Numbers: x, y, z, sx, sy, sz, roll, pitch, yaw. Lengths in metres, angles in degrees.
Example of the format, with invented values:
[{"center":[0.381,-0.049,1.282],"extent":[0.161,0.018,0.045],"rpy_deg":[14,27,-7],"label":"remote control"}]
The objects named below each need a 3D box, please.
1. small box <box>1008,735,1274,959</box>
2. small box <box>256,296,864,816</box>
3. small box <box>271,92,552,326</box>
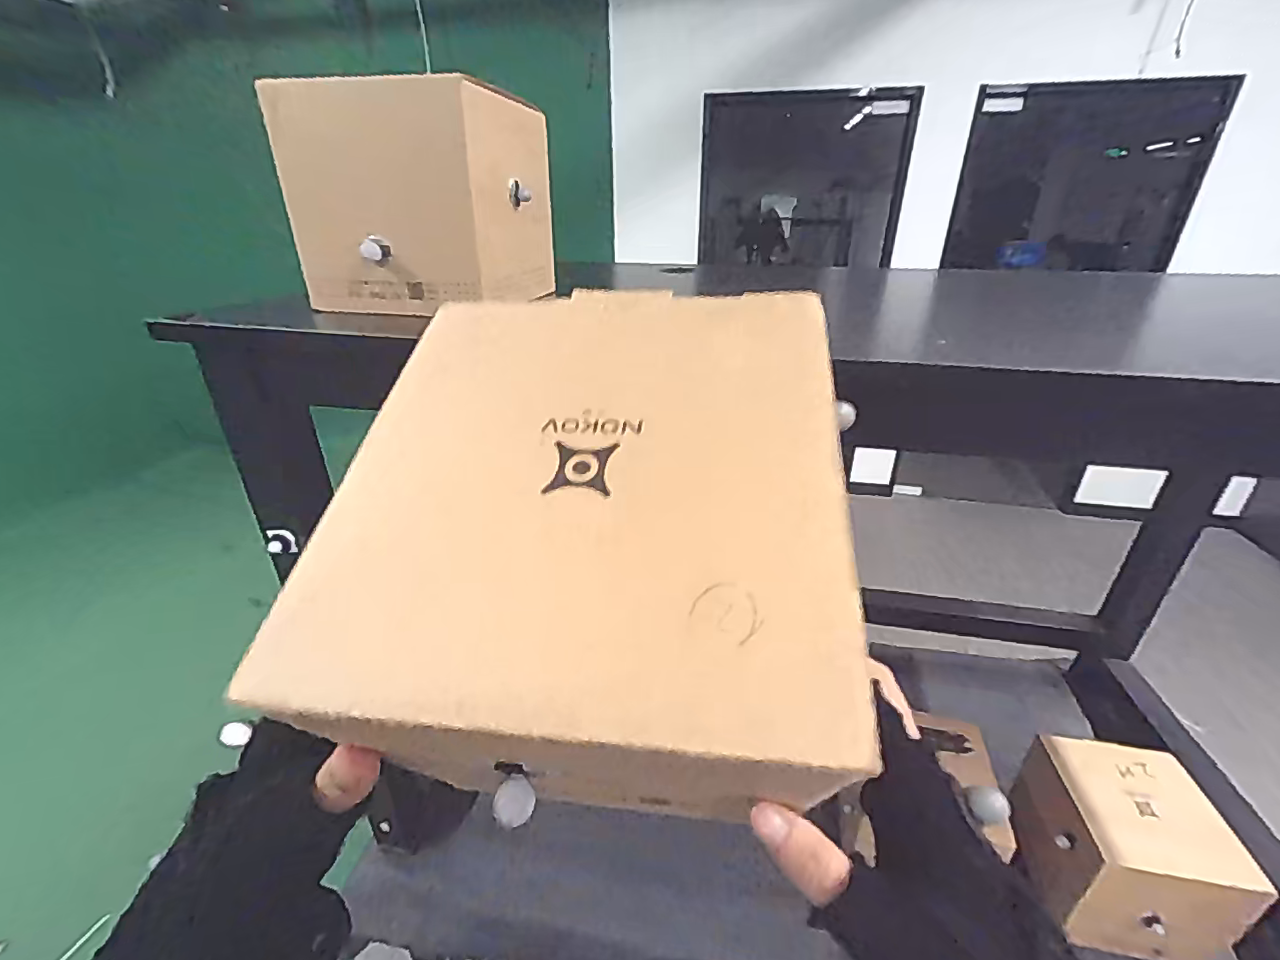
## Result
[{"center":[0.616,0.471,0.697],"extent":[0.168,0.176,0.179],"rpy_deg":[5,25,10],"label":"small box"},{"center":[-0.009,0.041,0.248],"extent":[0.168,0.176,0.179],"rpy_deg":[2,54,8],"label":"small box"},{"center":[-0.186,-0.244,0.503],"extent":[0.168,0.176,0.179],"rpy_deg":[5,28,10],"label":"small box"}]
